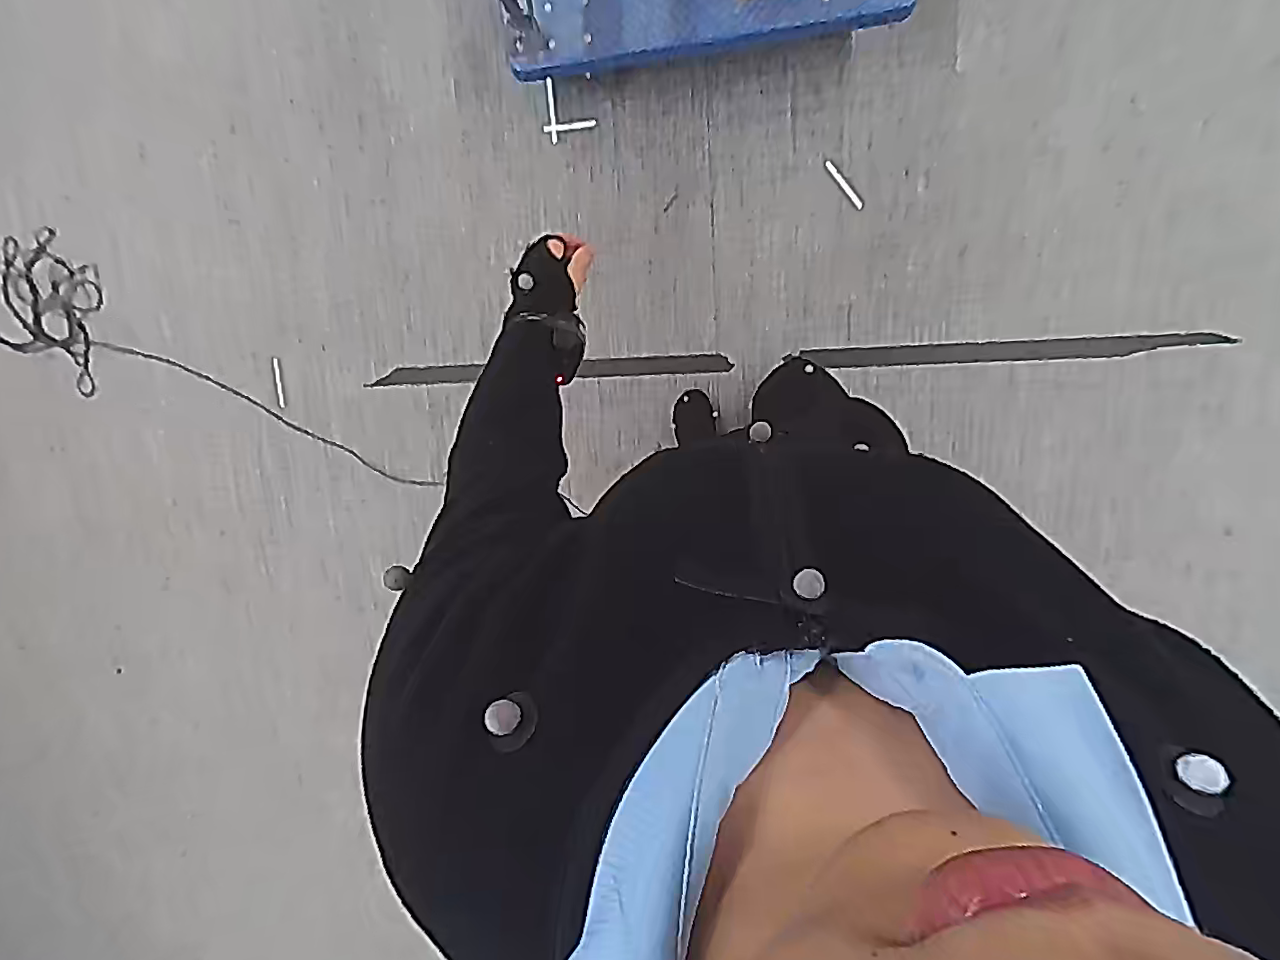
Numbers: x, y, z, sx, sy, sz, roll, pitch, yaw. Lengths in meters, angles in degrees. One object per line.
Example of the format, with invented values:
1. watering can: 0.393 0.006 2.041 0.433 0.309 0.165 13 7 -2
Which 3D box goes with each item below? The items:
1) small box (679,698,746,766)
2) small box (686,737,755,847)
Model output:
1. small box: 0.213 0.758 1.542 0.168 0.176 0.179 -14 98 8
2. small box: 0.204 0.793 1.383 0.168 0.176 0.179 -1 100 6
